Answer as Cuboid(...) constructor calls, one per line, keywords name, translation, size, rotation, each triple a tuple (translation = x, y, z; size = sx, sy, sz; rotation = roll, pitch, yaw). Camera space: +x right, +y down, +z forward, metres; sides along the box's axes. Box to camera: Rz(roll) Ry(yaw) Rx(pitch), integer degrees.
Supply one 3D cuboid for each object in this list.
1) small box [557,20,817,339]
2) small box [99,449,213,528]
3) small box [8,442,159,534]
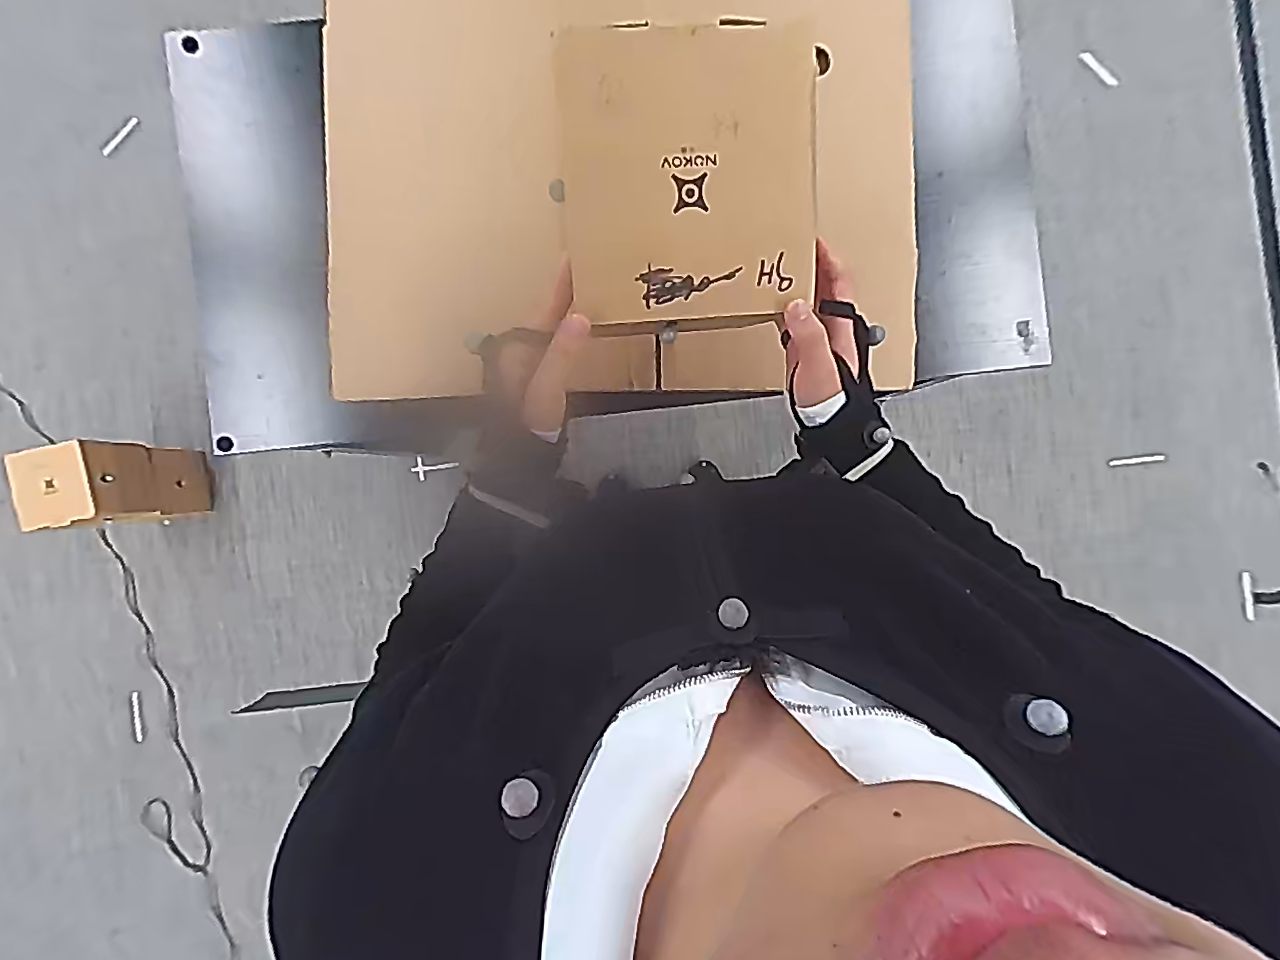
Cuboid(name="small box", translation=(0.027, -0.210, 0.425), size=(0.168, 0.176, 0.179), rotation=(-5, 102, -3))
Cuboid(name="small box", translation=(-1.276, 0.021, 1.419), size=(0.168, 0.176, 0.179), rotation=(-10, 91, 0))
Cuboid(name="small box", translation=(-1.278, 0.016, 1.256), size=(0.168, 0.176, 0.179), rotation=(-14, 89, -1))
